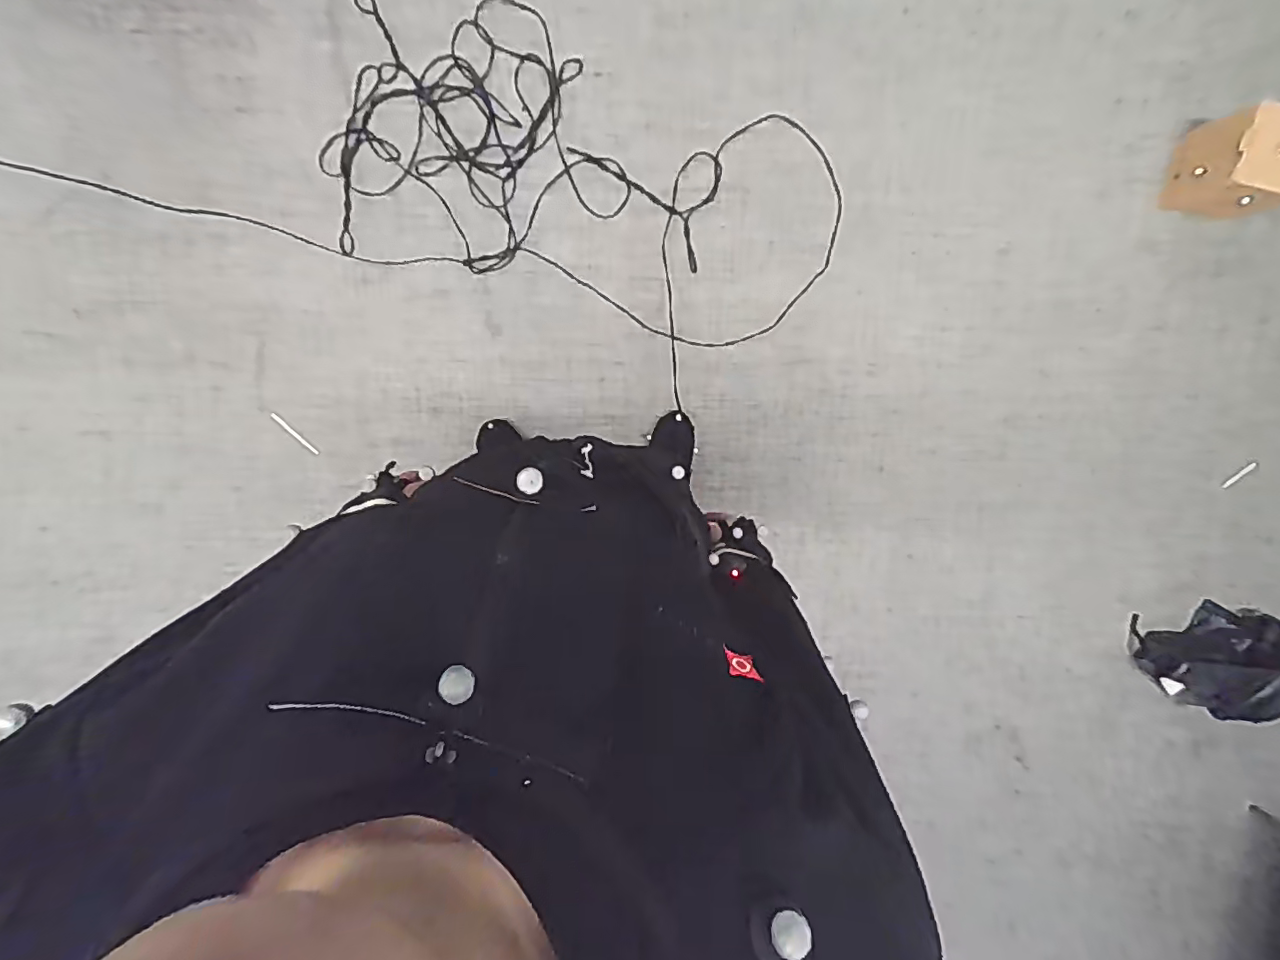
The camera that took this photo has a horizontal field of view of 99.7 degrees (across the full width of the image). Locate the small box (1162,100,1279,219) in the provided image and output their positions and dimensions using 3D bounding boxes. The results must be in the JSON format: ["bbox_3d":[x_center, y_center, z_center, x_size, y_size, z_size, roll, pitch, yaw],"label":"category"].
[{"bbox_3d":[1.344,-0.705,1.210,0.179,0.176,0.168,10,100,-4],"label":"small box"}]
